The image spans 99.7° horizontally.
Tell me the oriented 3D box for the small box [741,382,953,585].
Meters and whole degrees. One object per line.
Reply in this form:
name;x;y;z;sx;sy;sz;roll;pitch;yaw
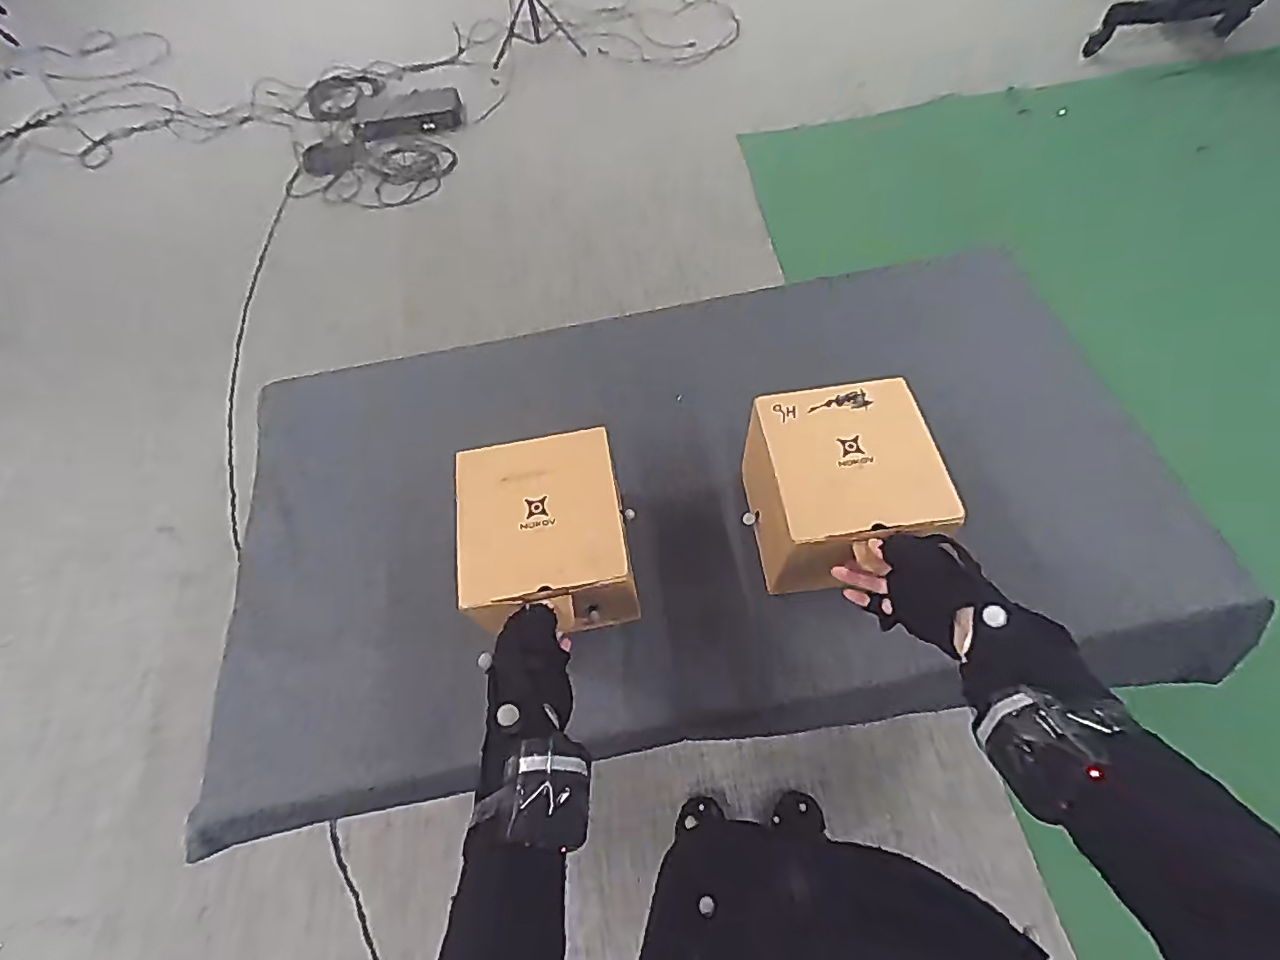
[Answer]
small box;0.218;0.015;0.627;0.168;0.176;0.179;-8;62;1

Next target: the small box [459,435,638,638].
small box;-0.100;0.076;0.629;0.168;0.176;0.179;-11;62;-2
